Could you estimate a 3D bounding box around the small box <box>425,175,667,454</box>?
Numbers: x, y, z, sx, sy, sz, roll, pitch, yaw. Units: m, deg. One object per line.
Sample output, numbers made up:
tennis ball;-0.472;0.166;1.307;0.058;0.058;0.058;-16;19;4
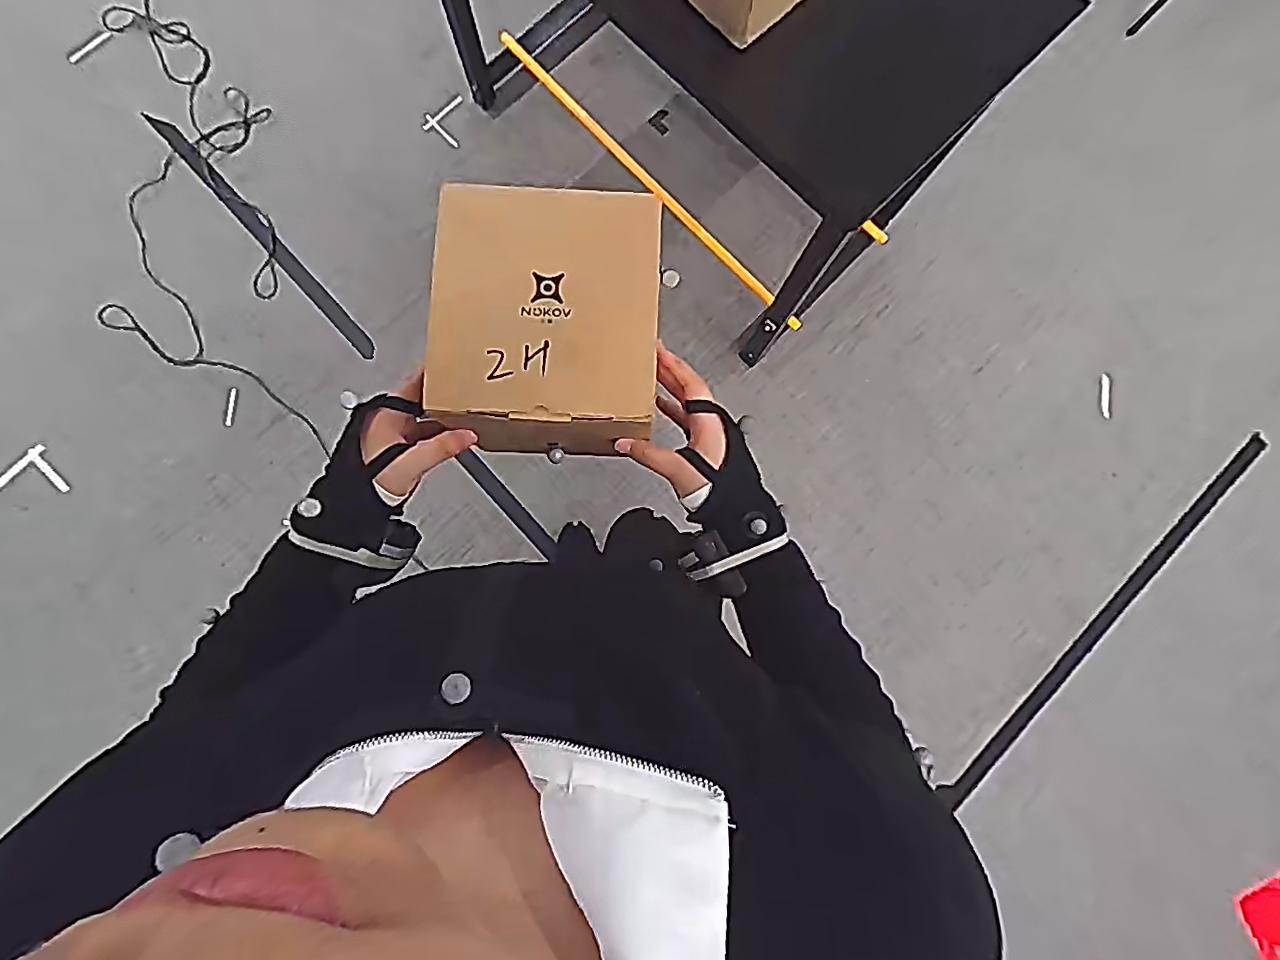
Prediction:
small box;-0.068;-0.126;0.470;0.168;0.176;0.179;2;84;-1
